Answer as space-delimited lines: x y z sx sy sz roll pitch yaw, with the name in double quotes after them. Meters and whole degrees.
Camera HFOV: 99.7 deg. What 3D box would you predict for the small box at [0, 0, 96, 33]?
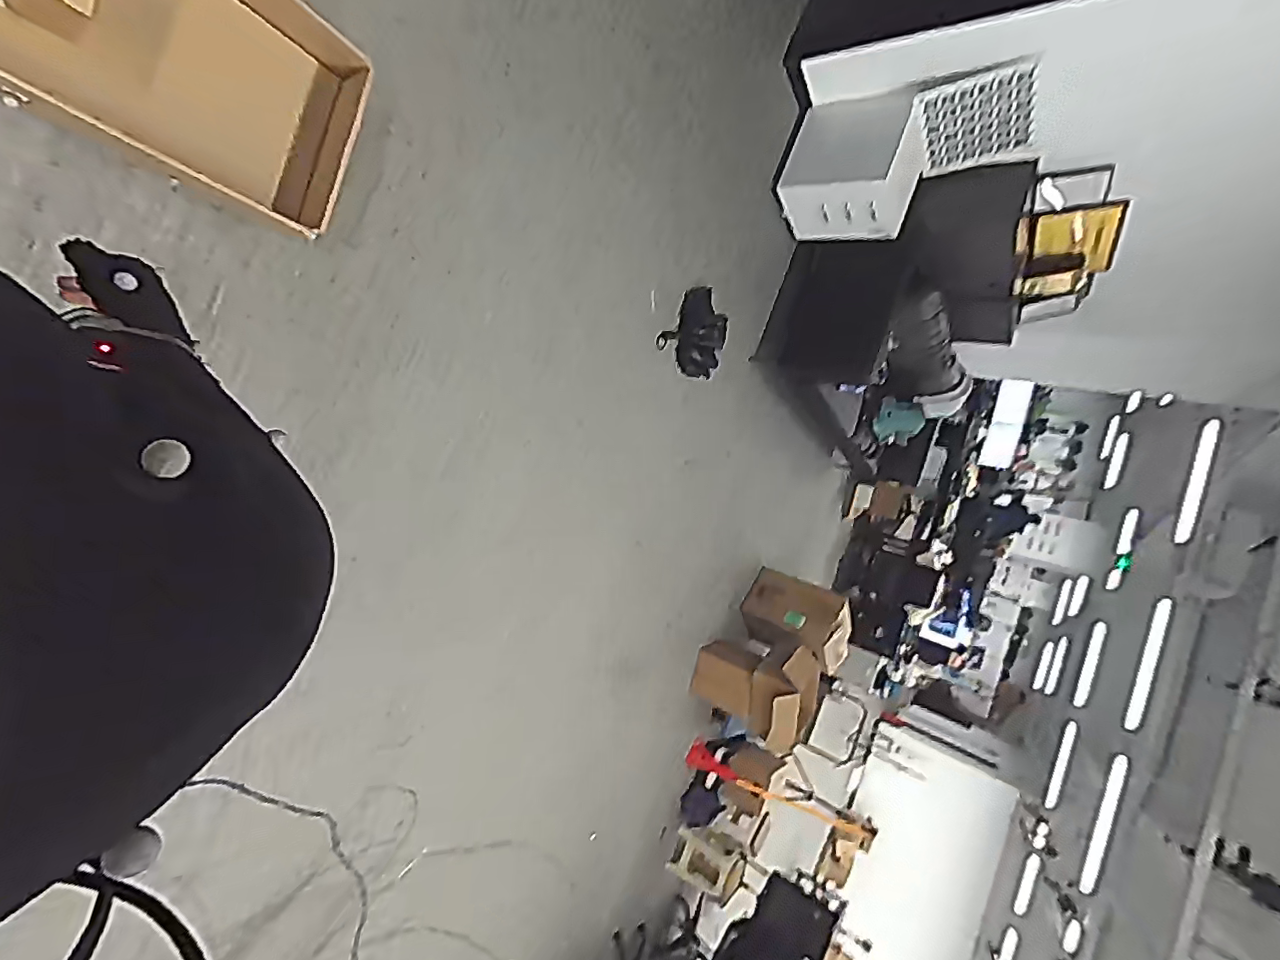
-0.923 -0.803 0.789 0.179 0.176 0.168 13 92 -56 "small box"
